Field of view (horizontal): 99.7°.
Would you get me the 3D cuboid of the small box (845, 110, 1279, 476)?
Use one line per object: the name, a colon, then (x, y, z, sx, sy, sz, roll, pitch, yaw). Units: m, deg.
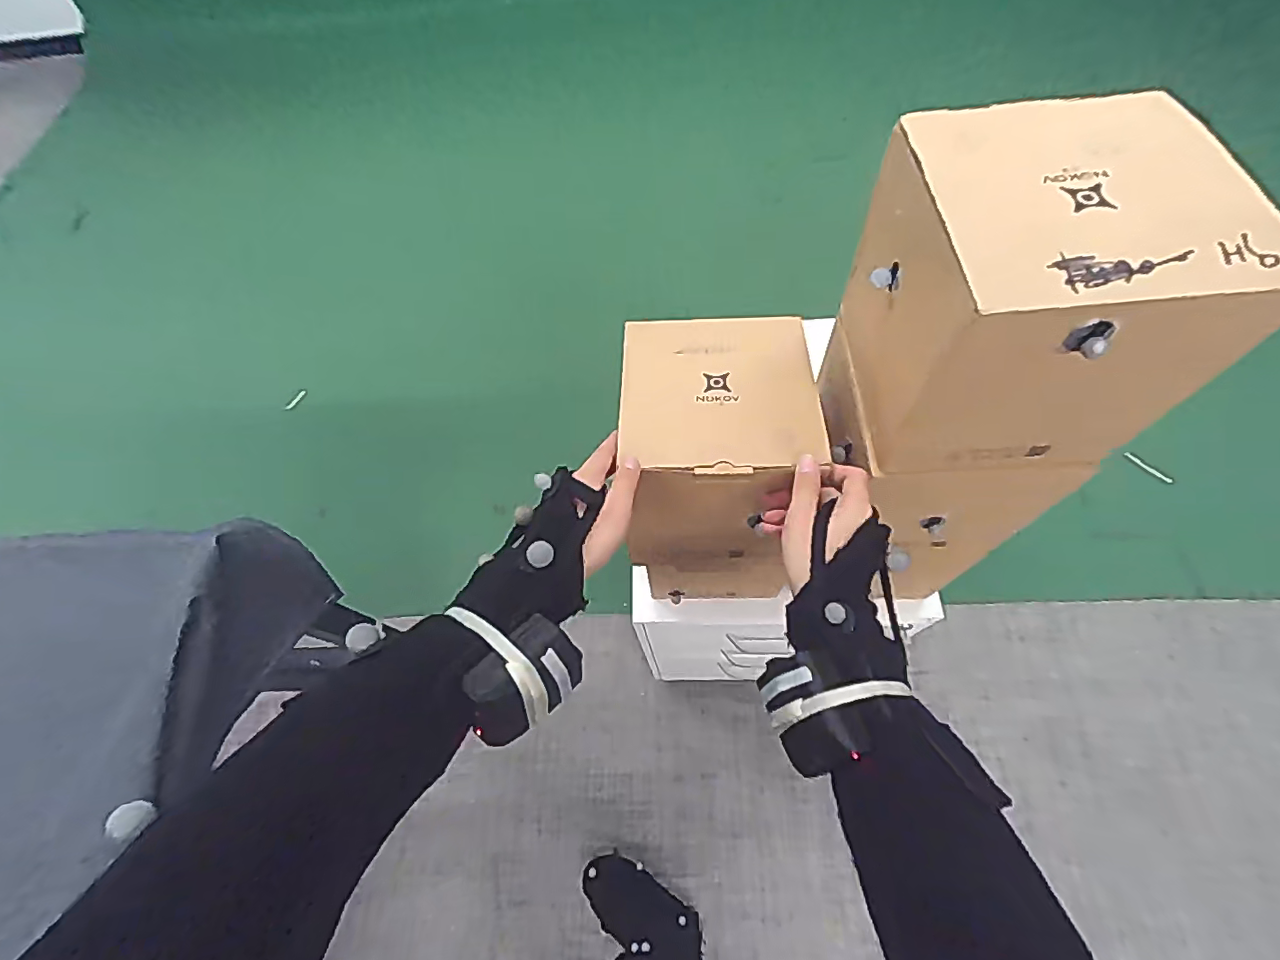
small box: (0.258, -0.120, 0.379, 0.168, 0.176, 0.179, -3, 61, 4)

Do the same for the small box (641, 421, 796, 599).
small box: (0.090, 0.045, 0.678, 0.168, 0.176, 0.179, -1, 61, 3)
